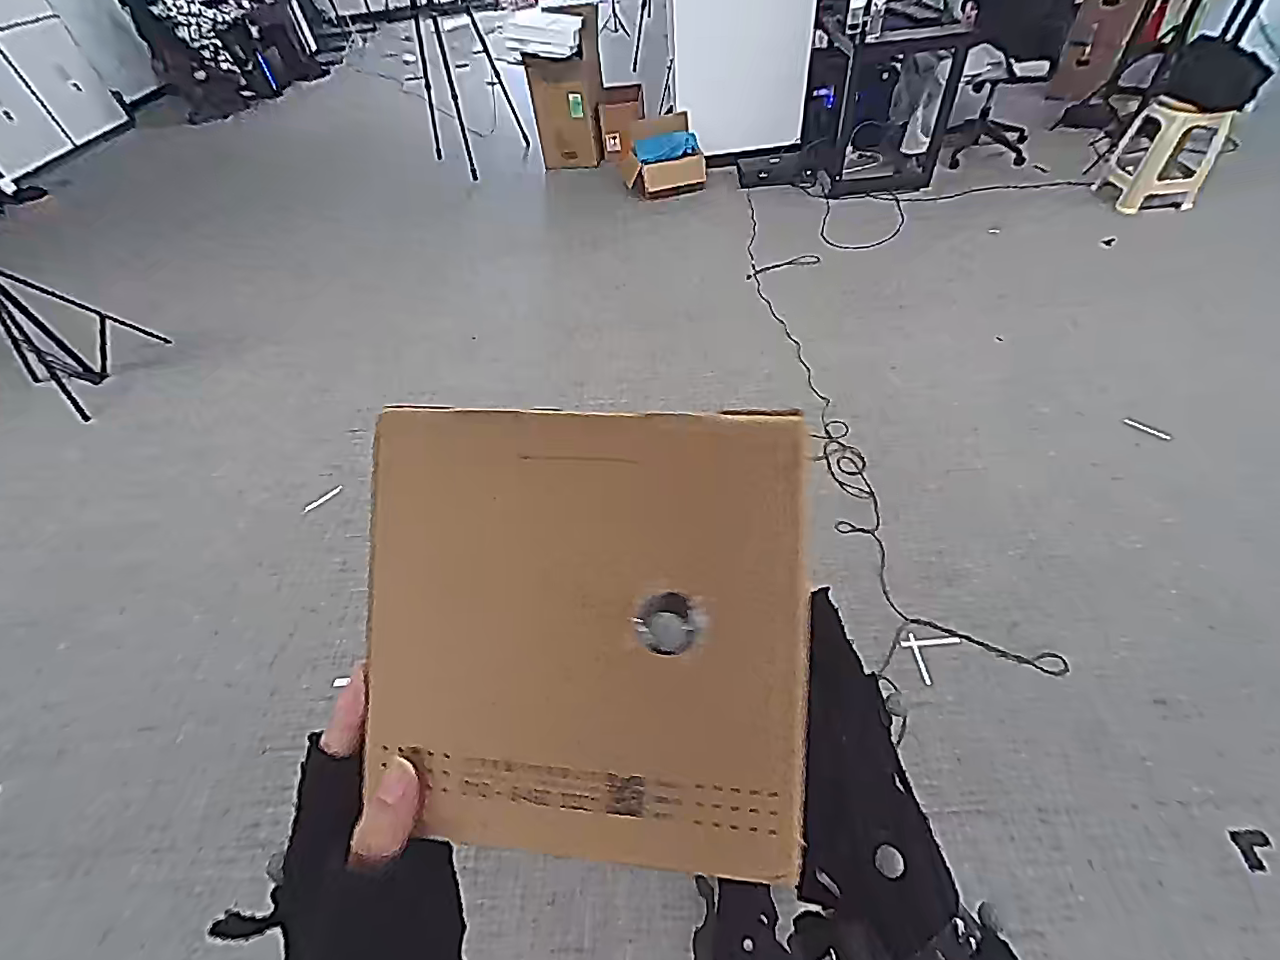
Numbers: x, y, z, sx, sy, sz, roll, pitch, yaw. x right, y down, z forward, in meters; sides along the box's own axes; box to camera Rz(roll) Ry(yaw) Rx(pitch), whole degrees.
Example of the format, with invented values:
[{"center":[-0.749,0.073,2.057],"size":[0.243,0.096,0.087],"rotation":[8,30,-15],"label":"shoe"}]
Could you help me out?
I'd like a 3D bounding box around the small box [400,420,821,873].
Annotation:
[{"center":[-0.005,0.063,0.286],"size":[0.168,0.179,0.176],"rotation":[3,89,7],"label":"small box"}]
